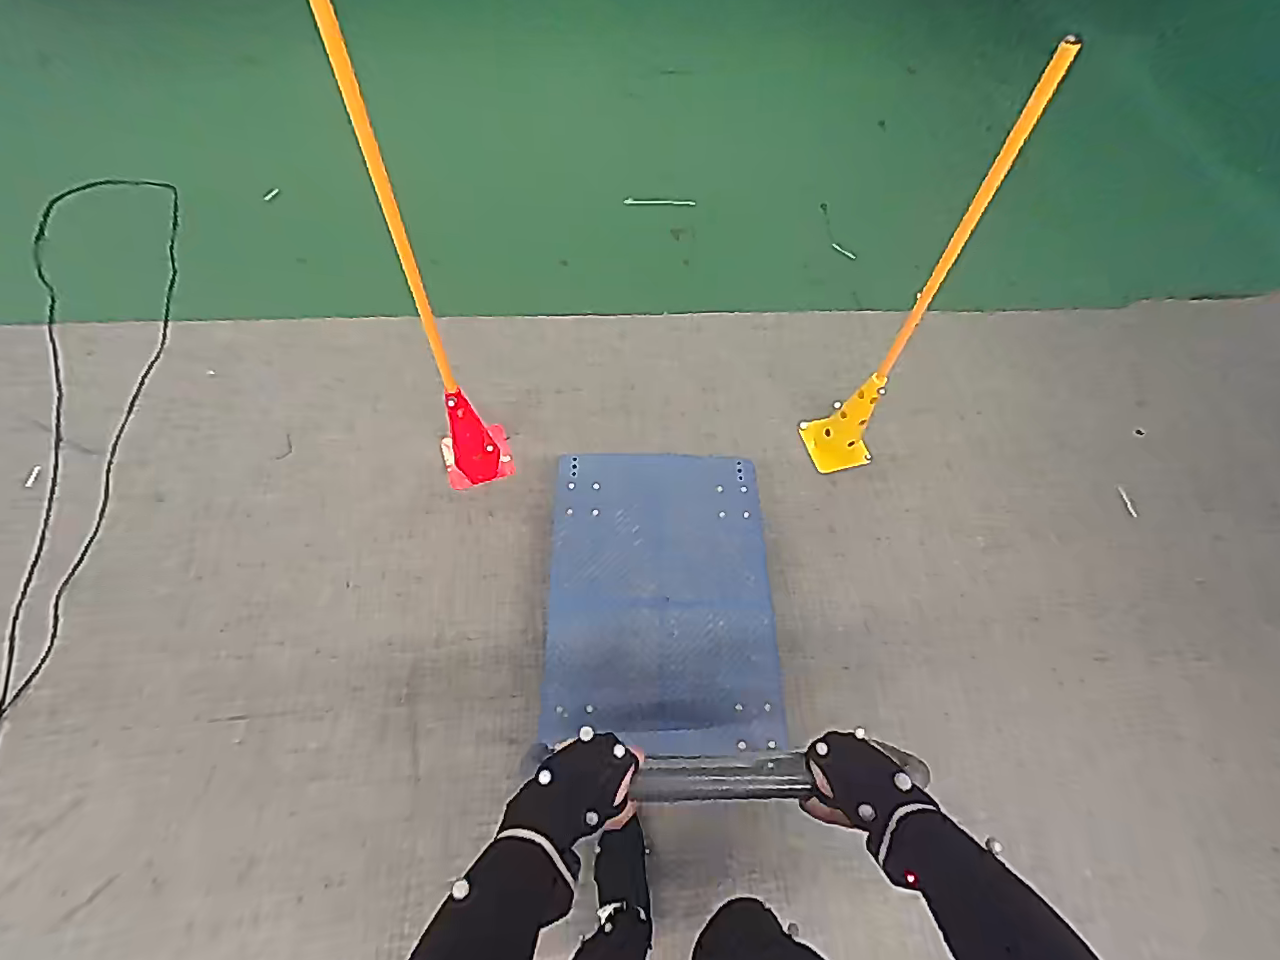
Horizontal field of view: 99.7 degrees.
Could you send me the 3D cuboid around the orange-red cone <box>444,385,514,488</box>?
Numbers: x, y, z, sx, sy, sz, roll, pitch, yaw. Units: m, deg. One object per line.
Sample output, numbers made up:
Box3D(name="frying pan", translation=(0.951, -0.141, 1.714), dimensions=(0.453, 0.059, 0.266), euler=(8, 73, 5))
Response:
Box3D(name="orange-red cone", translation=(-0.507, -0.152, 1.574), dimensions=(0.199, 0.360, 0.198), euler=(-16, 64, -10))
